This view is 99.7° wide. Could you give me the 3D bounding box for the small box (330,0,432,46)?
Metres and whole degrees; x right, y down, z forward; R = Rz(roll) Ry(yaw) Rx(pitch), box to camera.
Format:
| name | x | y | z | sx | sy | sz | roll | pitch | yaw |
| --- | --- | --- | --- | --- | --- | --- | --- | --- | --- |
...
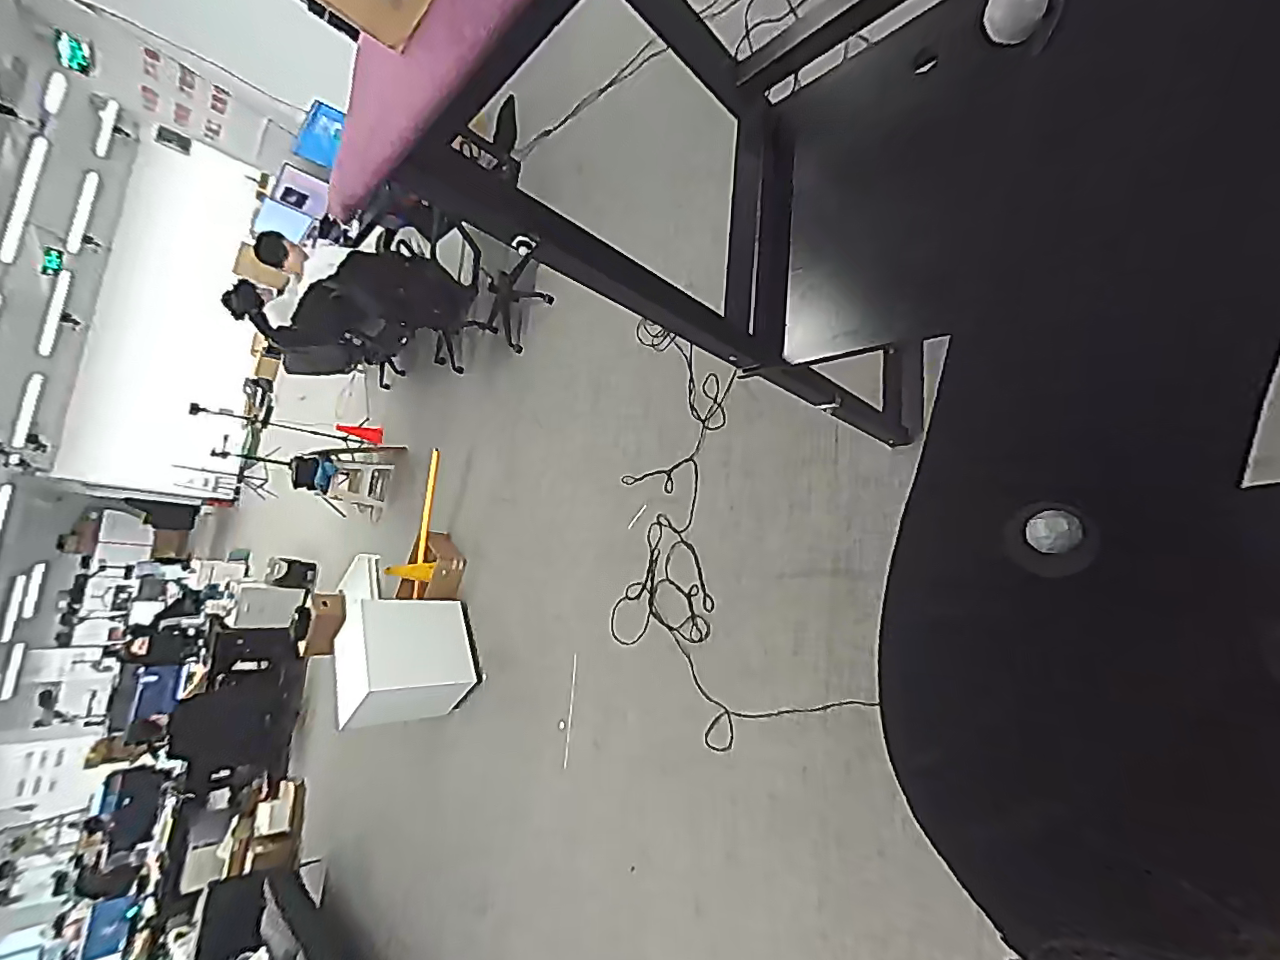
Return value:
| name | x | y | z | sx | sy | sz | roll | pitch | yaw |
| --- | --- | --- | --- | --- | --- | --- | --- | --- | --- |
| small box | -0.216 | -0.486 | 0.393 | 0.168 | 0.176 | 0.179 | -9 | 75 | 46 |
